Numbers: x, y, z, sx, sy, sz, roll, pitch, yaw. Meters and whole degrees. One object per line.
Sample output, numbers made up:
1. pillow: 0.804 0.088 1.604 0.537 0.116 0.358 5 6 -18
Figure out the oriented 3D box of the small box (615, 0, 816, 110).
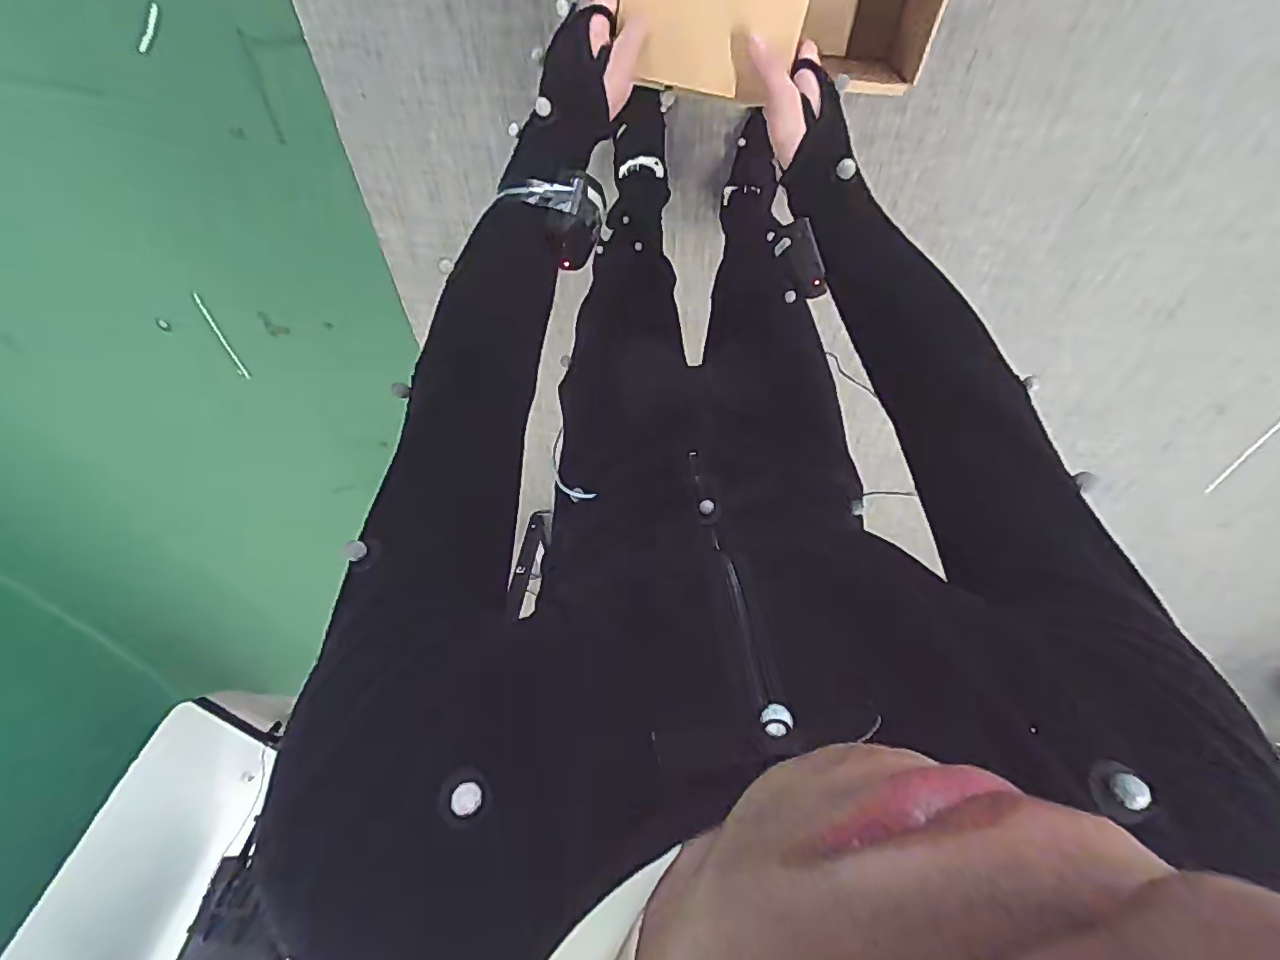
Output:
1. small box: 0.071 -0.473 0.517 0.168 0.176 0.179 7 123 -7
